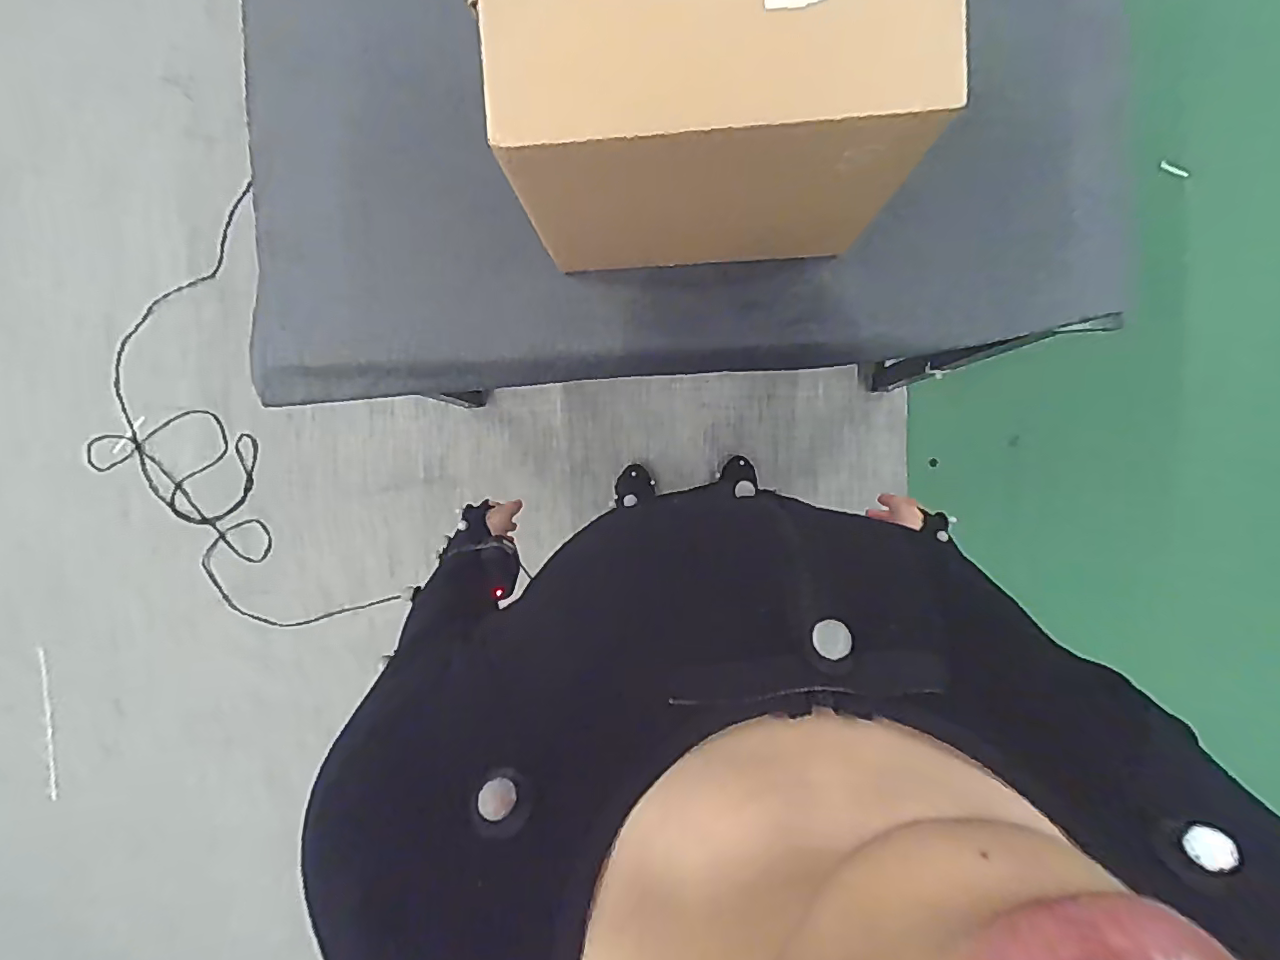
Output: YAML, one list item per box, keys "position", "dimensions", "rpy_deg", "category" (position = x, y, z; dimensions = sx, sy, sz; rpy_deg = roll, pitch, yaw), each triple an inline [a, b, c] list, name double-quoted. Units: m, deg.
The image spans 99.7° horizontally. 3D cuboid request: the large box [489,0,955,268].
- position: [0.067, -0.464, 0.616]
  dimensions: [0.408, 0.320, 0.320]
  rpy_deg: [-4, 92, 3]
  category: "large box"
